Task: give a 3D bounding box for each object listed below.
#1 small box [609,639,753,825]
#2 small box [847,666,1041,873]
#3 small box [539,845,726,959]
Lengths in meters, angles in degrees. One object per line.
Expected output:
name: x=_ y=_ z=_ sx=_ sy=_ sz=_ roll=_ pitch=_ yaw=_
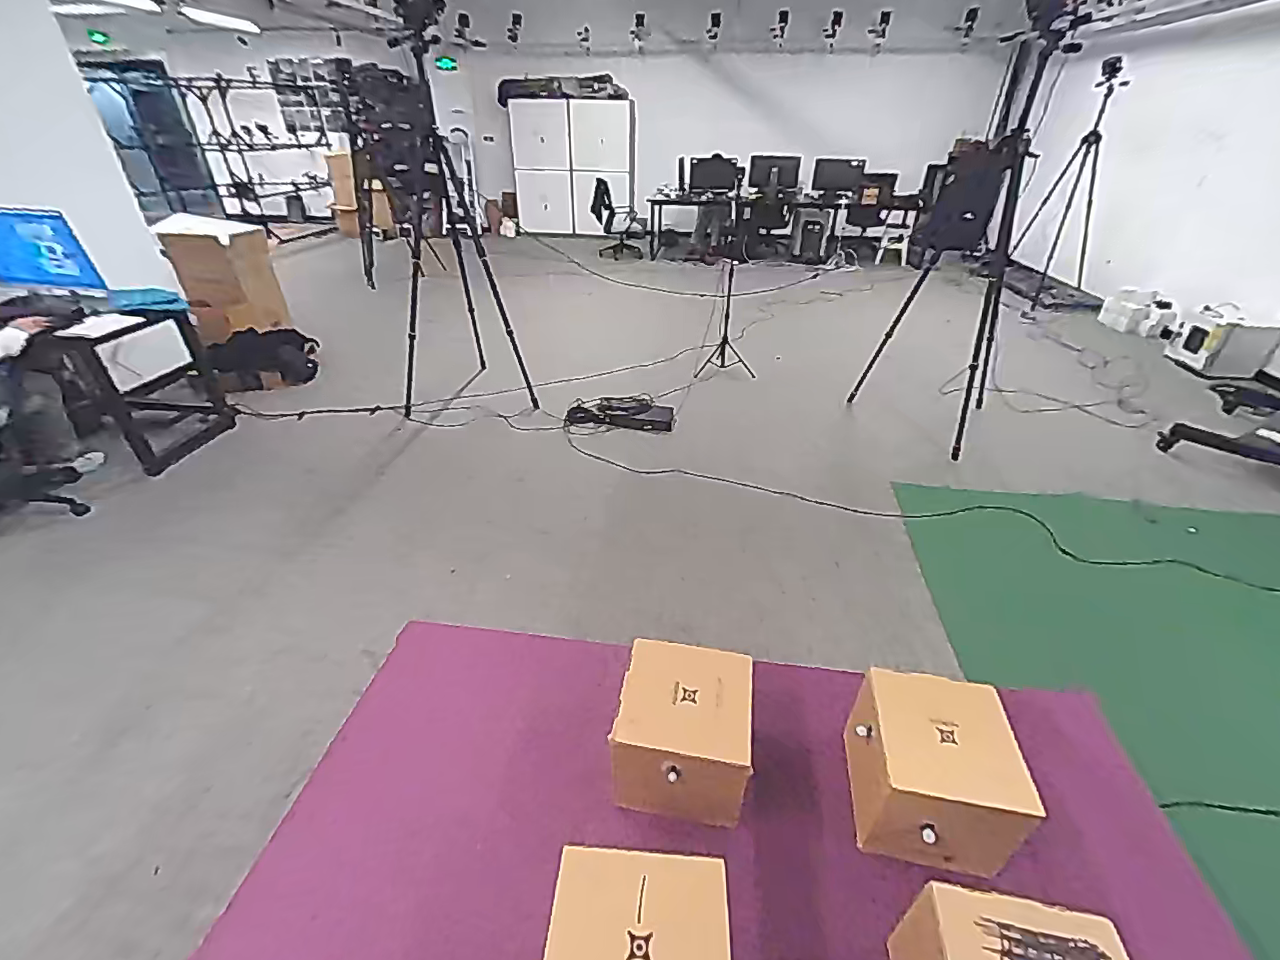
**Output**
small box: x=0.061 y=0.356 z=0.769 sx=0.179 sy=0.176 sz=0.168 roll=7 pitch=34 yaw=9
small box: x=0.385 y=0.384 z=0.724 sx=0.168 sy=0.176 sz=0.179 roll=6 pitch=33 yaw=10
small box: x=-0.006 y=0.486 z=0.507 sx=0.168 sy=0.176 sz=0.179 roll=3 pitch=28 yaw=3
